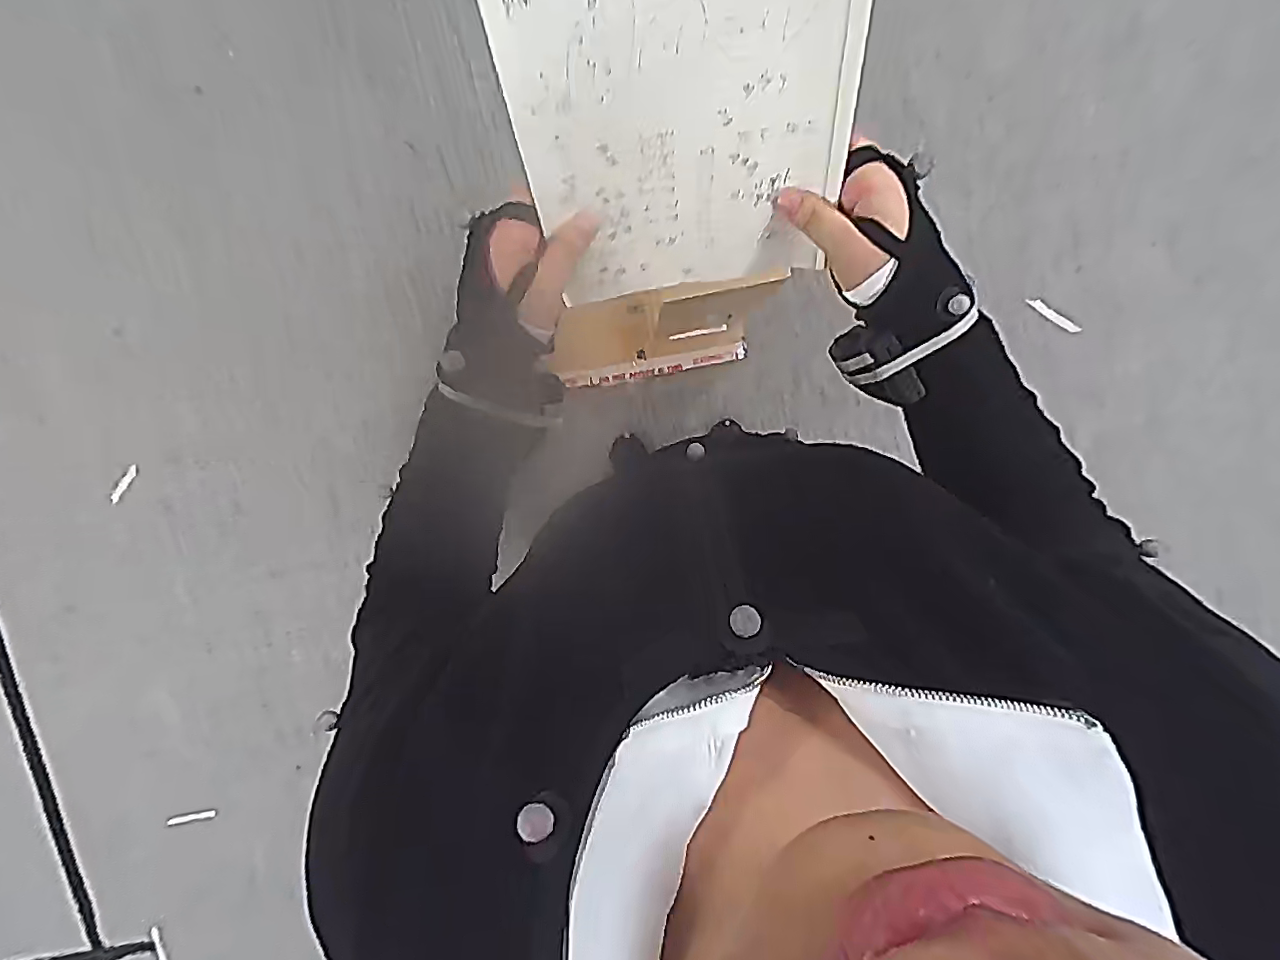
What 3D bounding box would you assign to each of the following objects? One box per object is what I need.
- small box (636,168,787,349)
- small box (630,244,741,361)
[{"bbox_3d":[0.088,-0.290,0.745,0.168,0.176,0.179,-11,97,1],"label":"small box"},{"bbox_3d":[0.084,-0.307,0.909,0.179,0.176,0.168,-14,96,2],"label":"small box"}]
